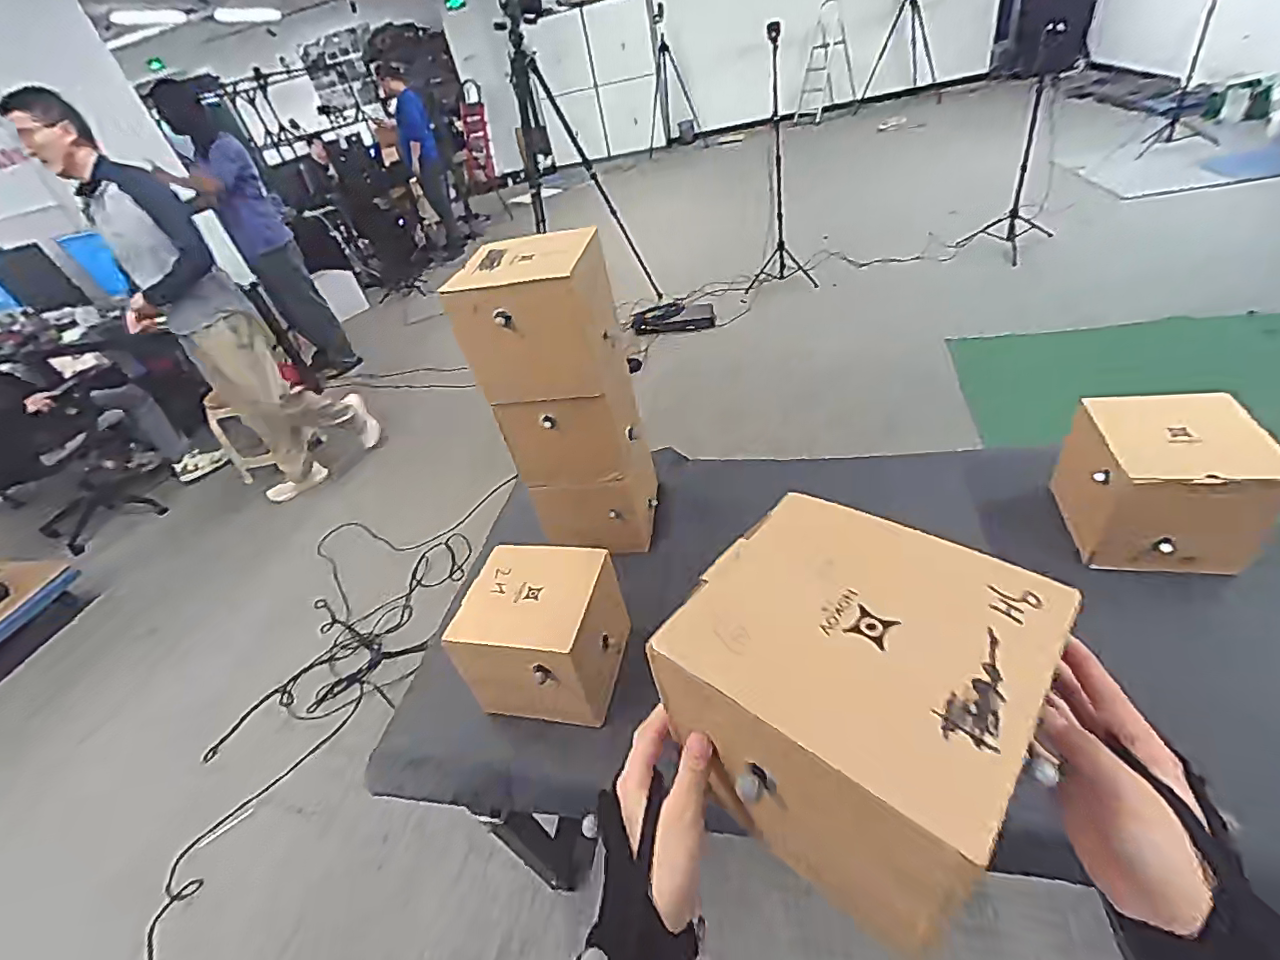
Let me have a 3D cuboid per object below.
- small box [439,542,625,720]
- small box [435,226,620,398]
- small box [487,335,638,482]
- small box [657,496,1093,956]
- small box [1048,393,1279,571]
[{"bbox_3d":[-0.131,0.205,0.740,0.179,0.176,0.168,0,39,17],"label":"small box"},{"bbox_3d":[-0.140,-0.226,0.745,0.179,0.176,0.168,-2,43,13],"label":"small box"},{"bbox_3d":[-0.111,-0.110,0.859,0.179,0.176,0.168,-3,43,11],"label":"small box"},{"bbox_3d":[0.137,0.142,0.343,0.179,0.176,0.168,23,49,38],"label":"small box"},{"bbox_3d":[0.694,0.000,0.737,0.168,0.176,0.179,0,43,18],"label":"small box"}]
